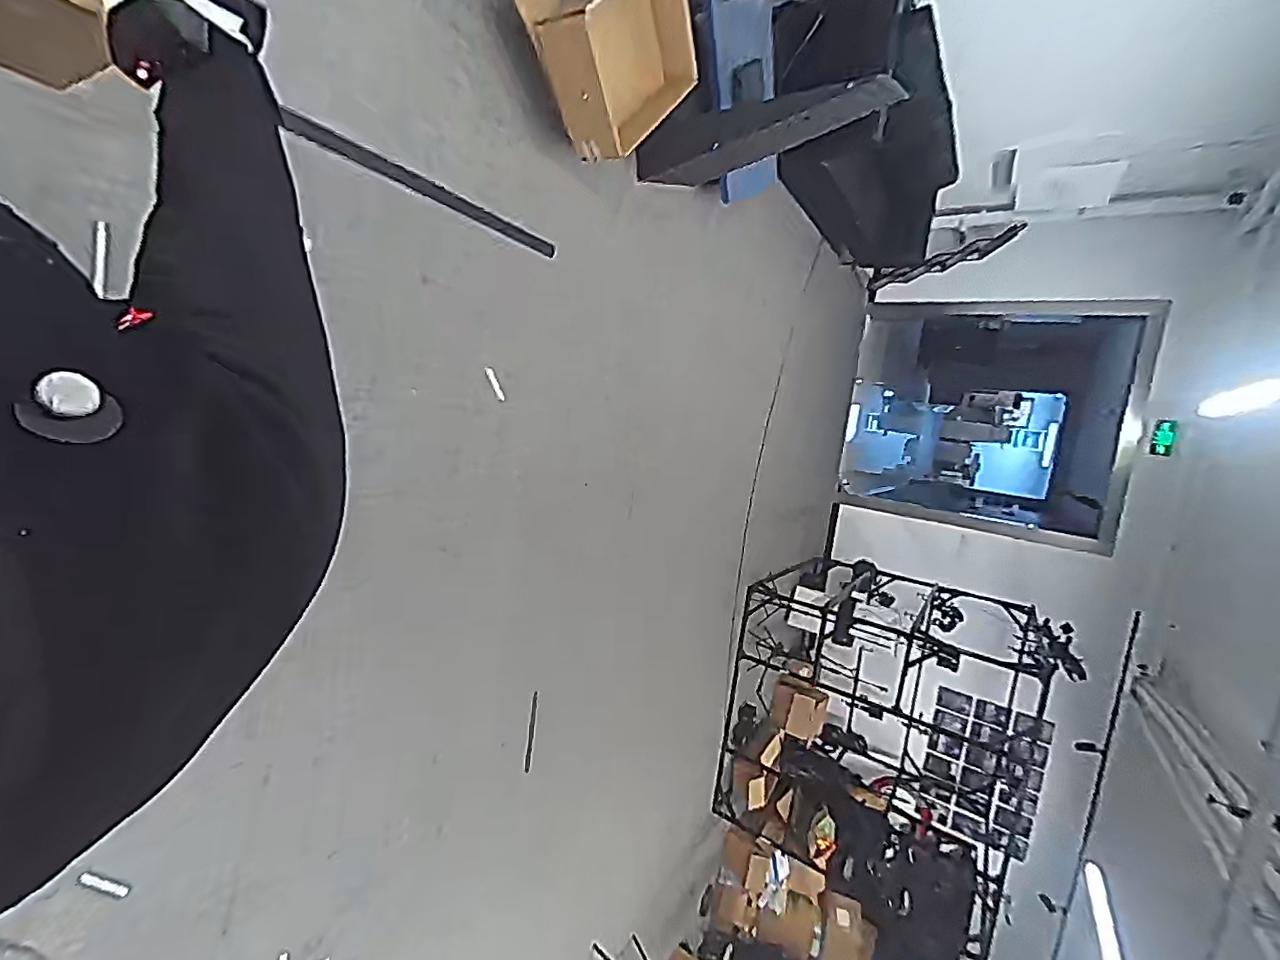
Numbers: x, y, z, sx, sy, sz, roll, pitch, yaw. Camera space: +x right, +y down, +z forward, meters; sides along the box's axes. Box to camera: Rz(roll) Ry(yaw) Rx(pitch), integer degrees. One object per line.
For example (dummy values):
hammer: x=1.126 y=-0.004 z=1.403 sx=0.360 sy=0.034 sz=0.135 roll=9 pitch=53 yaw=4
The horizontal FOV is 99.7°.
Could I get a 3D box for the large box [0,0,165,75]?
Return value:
large box: x=-0.569 y=-0.525 z=0.303 sx=0.408 sy=0.320 sz=0.320 roll=-2 pitch=107 yaw=-57
